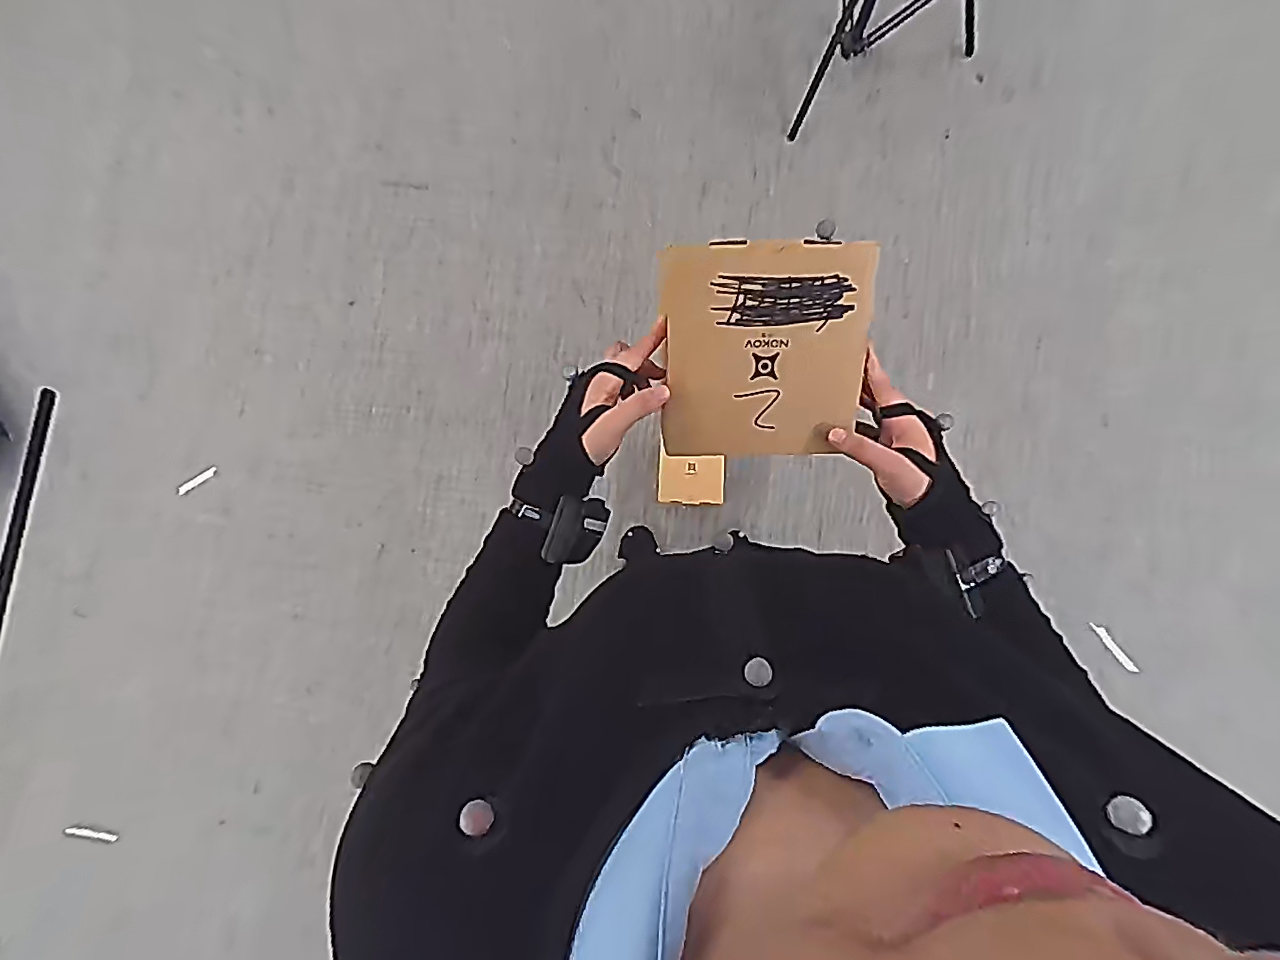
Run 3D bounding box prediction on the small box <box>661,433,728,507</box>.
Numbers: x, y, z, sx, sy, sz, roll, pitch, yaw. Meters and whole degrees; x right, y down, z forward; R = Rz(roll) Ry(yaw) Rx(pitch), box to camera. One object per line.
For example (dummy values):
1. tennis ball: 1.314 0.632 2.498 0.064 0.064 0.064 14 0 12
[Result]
1. small box: 0.141 -0.022 1.441 0.168 0.176 0.179 2 85 3
